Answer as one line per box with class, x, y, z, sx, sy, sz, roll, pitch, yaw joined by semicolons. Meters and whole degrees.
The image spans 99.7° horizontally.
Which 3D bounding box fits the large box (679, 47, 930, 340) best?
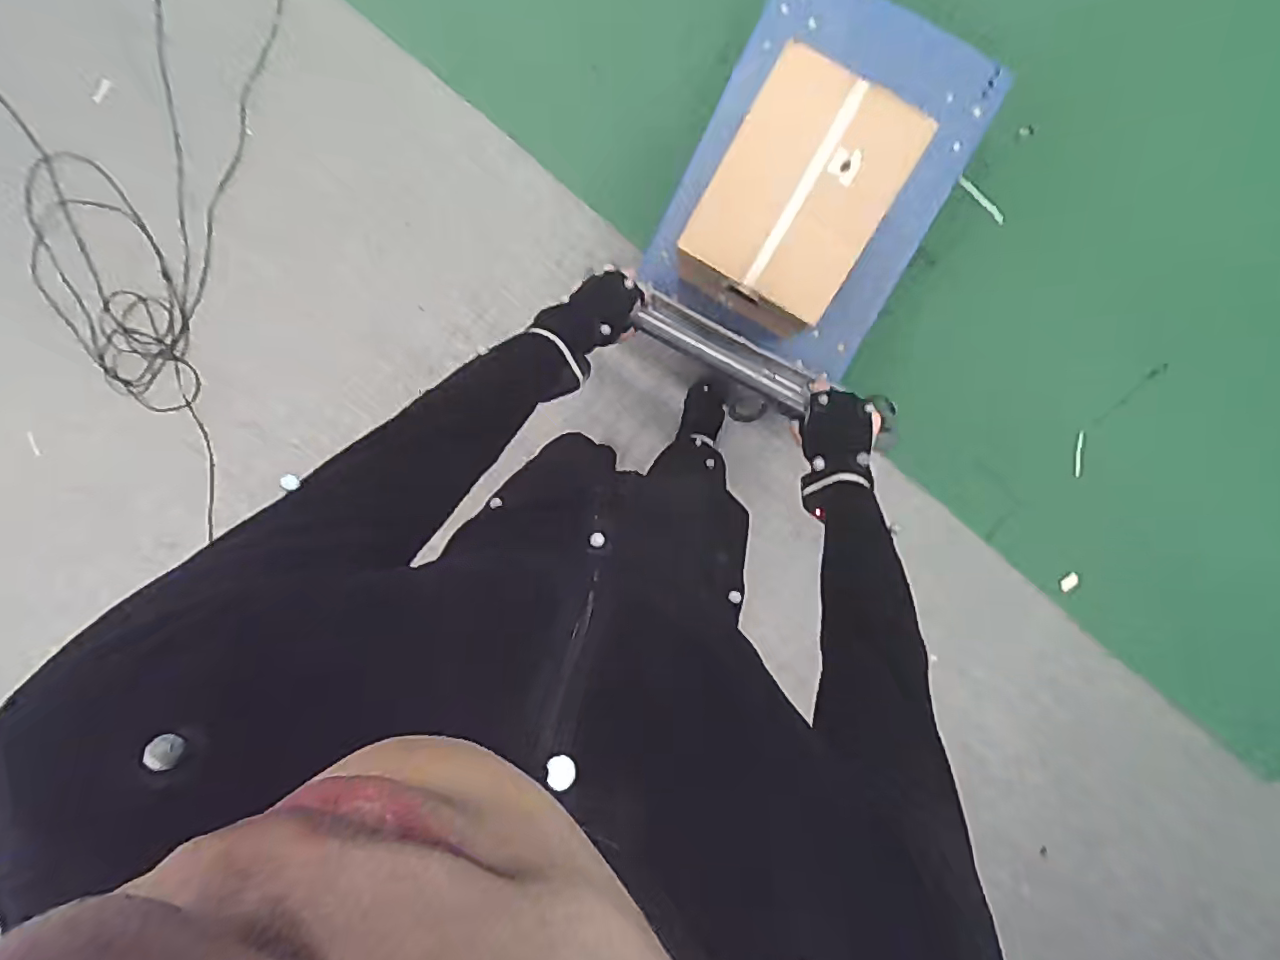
large box;0.313;-0.563;1.157;0.320;0.320;0.408;30;100;-1
